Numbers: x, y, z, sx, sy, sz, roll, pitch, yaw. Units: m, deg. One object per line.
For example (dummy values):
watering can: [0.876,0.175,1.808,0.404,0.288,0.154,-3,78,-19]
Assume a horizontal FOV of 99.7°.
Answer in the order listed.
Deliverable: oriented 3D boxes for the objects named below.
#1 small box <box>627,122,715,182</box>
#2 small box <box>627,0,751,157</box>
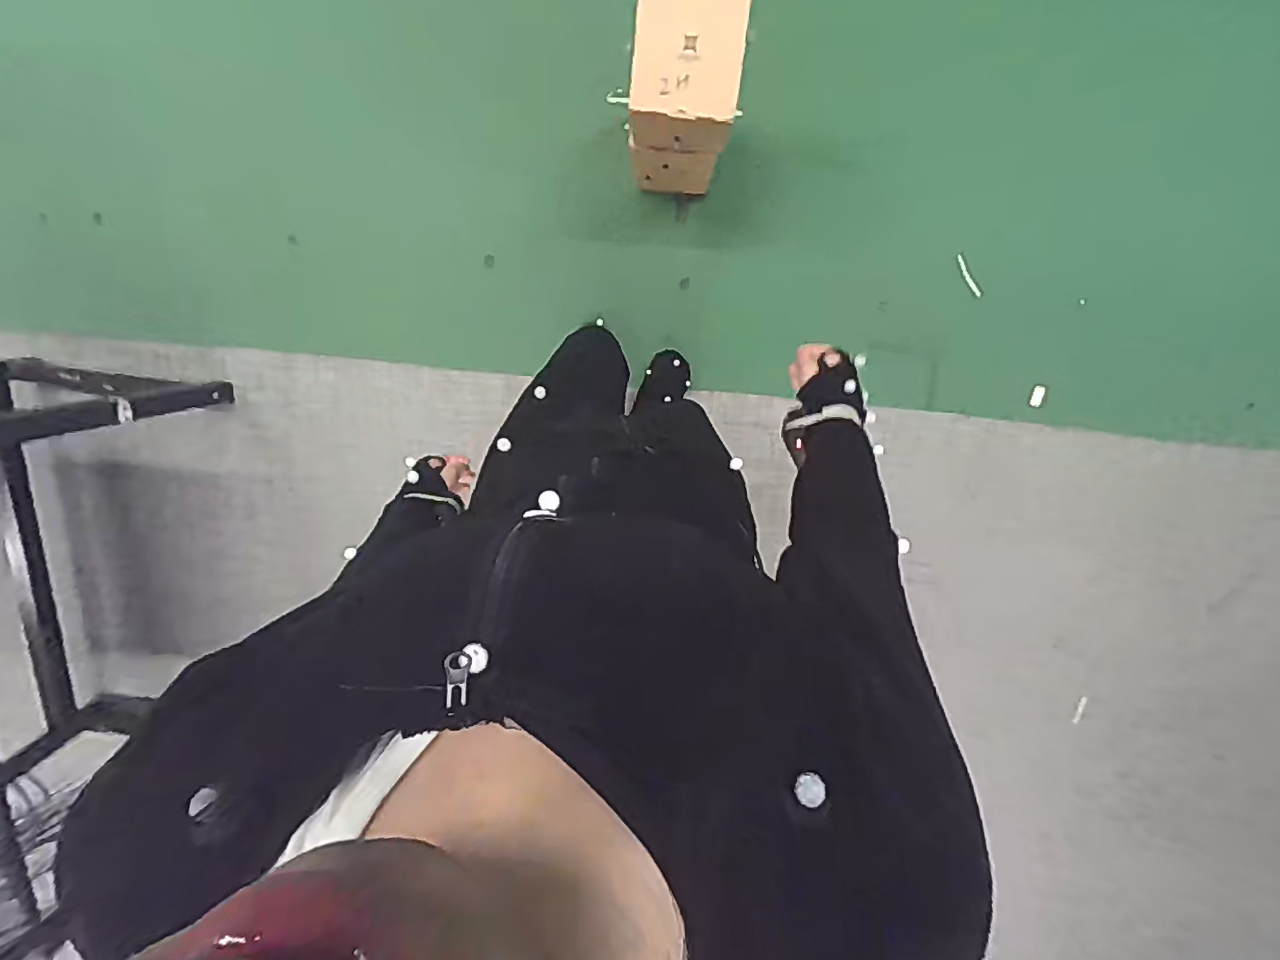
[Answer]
small box: [0.063,-0.698,1.039,0.168,0.176,0.179,5,106,-1]
small box: [0.070,-0.656,0.879,0.168,0.176,0.179,7,106,-2]
